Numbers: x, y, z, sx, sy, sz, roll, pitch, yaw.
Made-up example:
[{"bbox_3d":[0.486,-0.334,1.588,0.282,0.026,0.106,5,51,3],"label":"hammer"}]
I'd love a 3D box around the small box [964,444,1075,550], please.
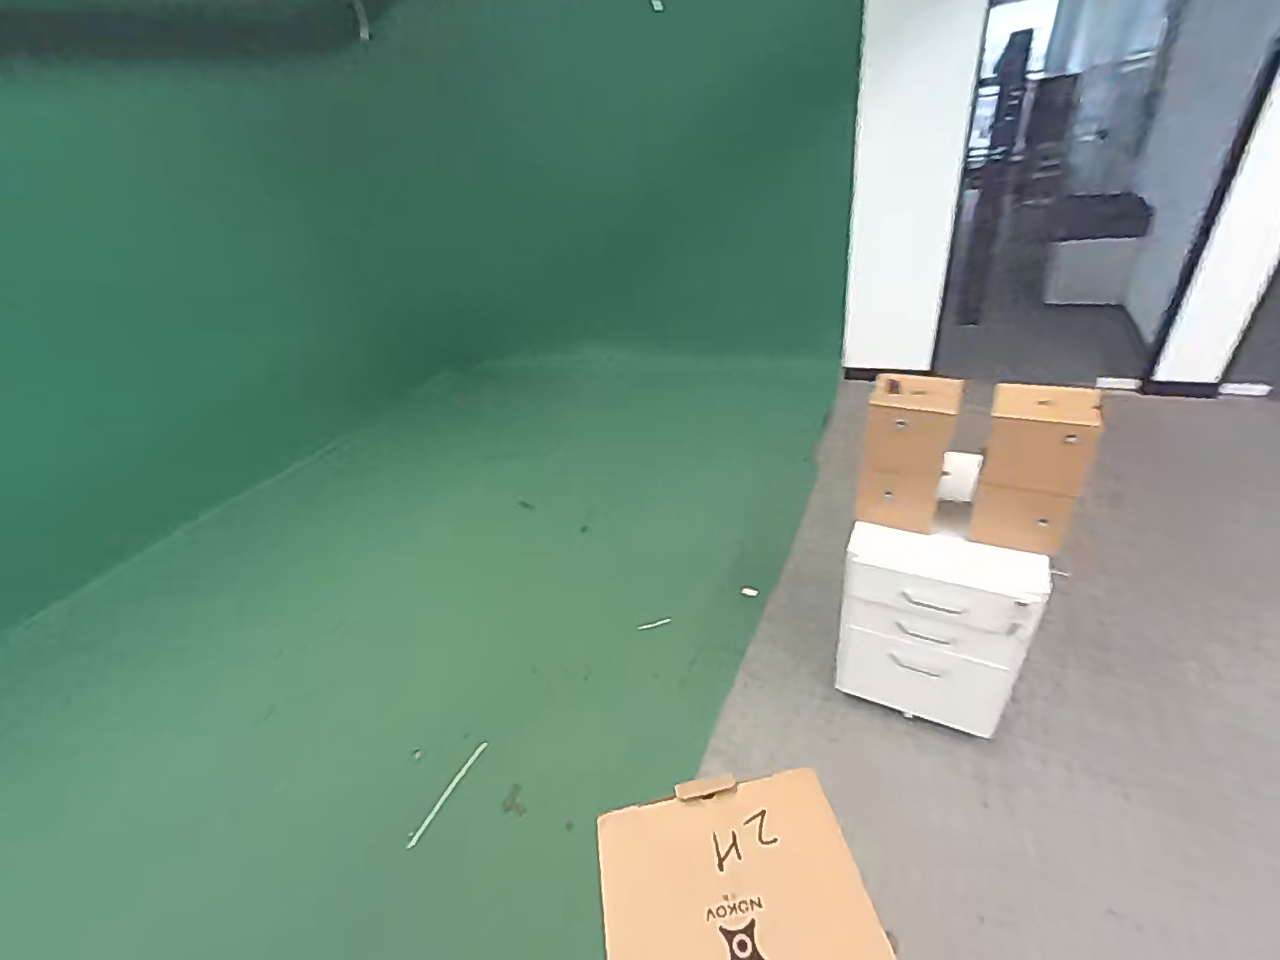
[{"bbox_3d":[0.859,0.039,1.235,0.179,0.176,0.168,9,38,29],"label":"small box"}]

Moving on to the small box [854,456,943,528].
[{"bbox_3d":[0.643,-0.003,1.346,0.179,0.176,0.168,12,41,28],"label":"small box"}]

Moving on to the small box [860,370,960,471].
[{"bbox_3d":[0.622,-0.138,1.255,0.179,0.176,0.168,13,41,27],"label":"small box"}]
